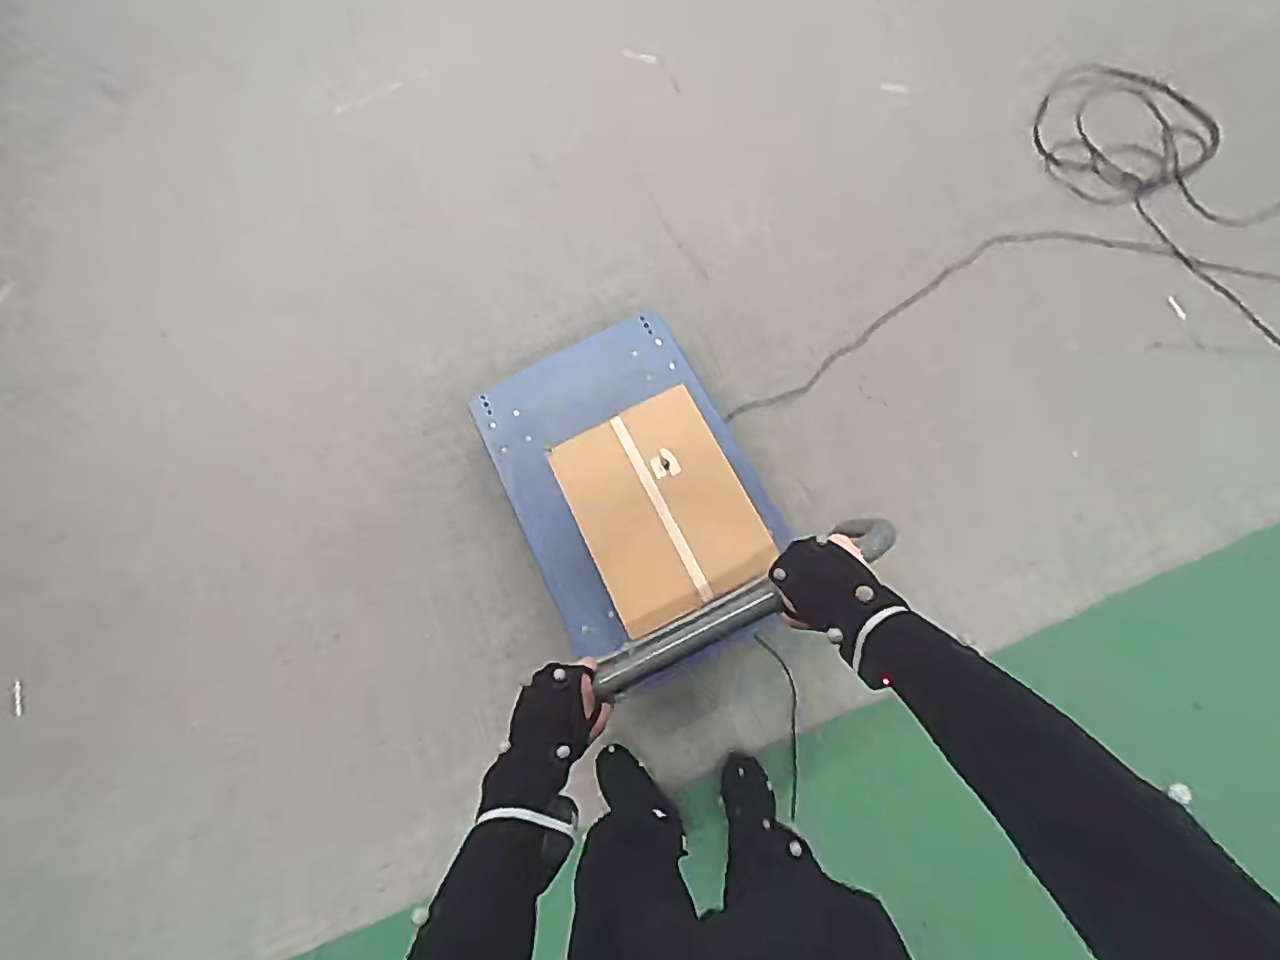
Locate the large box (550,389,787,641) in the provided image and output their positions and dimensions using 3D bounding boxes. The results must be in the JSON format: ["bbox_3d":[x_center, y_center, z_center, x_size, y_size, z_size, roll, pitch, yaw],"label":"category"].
[{"bbox_3d":[0.061,0.092,1.161,0.320,0.320,0.408,-26,73,-3],"label":"large box"}]
